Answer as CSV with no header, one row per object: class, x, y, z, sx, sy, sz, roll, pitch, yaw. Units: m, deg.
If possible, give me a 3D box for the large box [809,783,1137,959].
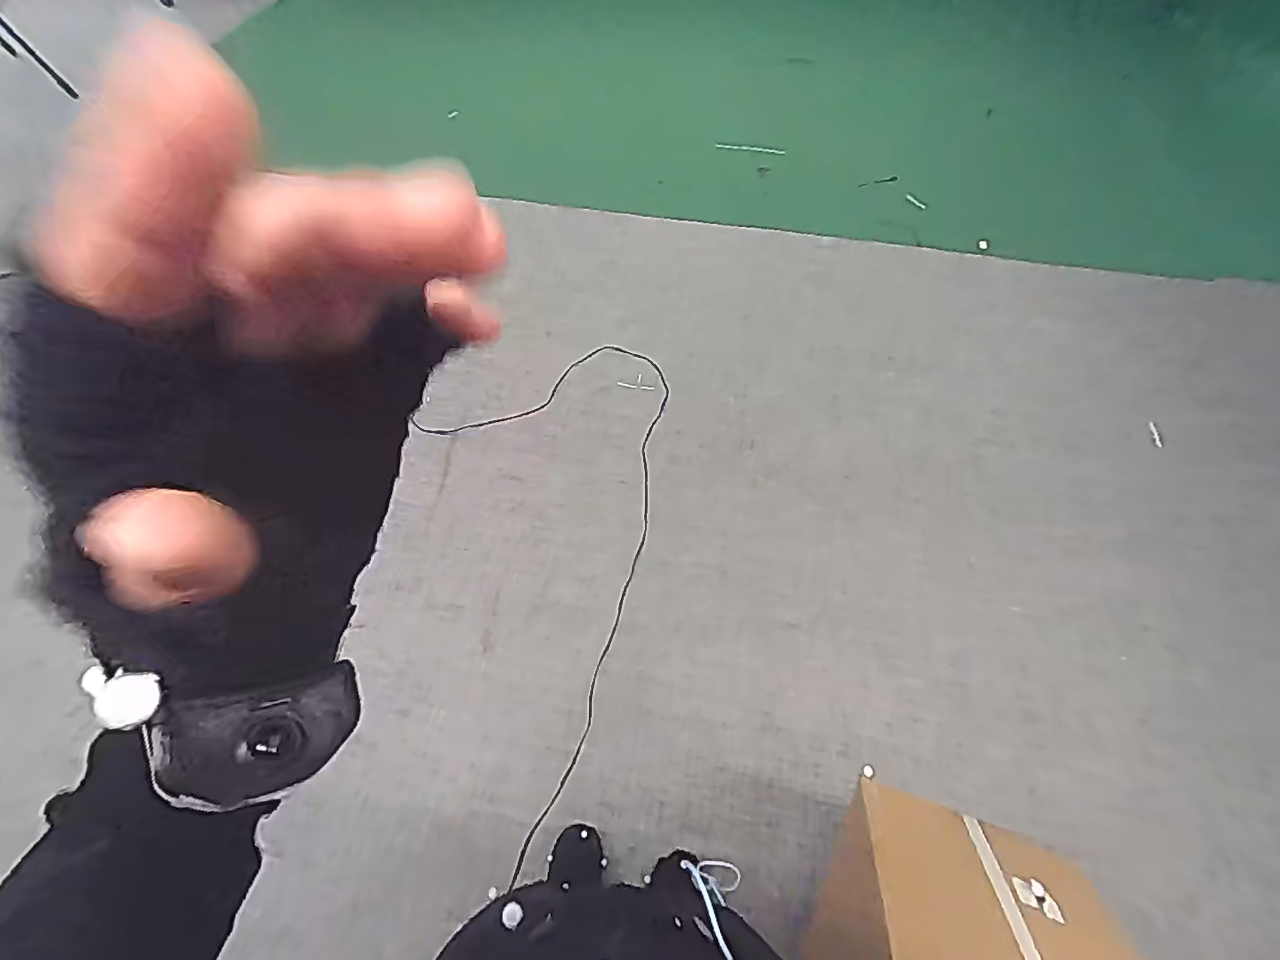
large box,0.402,0.677,0.654,0.320,0.408,0.320,17,98,15
